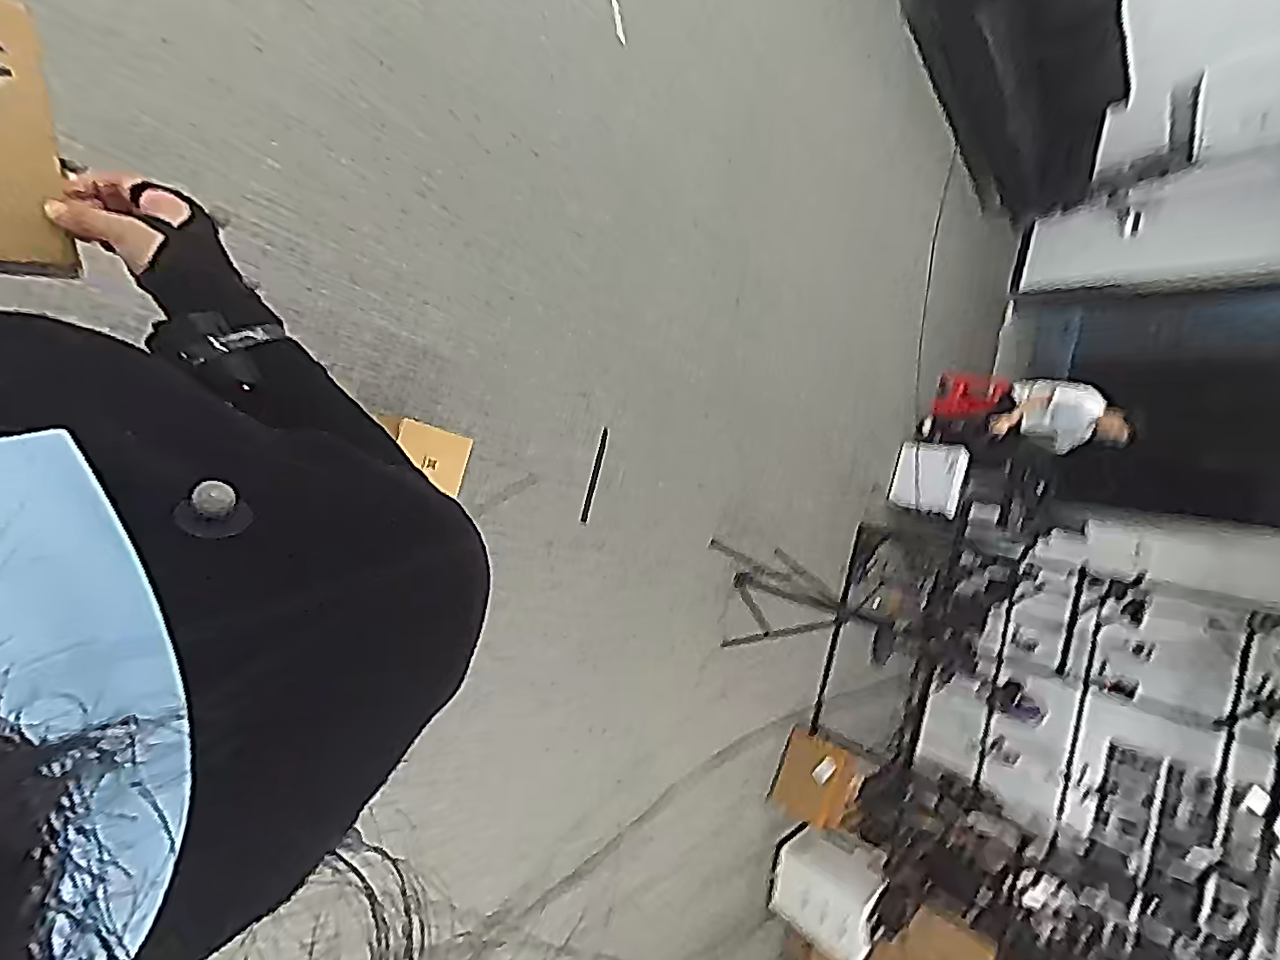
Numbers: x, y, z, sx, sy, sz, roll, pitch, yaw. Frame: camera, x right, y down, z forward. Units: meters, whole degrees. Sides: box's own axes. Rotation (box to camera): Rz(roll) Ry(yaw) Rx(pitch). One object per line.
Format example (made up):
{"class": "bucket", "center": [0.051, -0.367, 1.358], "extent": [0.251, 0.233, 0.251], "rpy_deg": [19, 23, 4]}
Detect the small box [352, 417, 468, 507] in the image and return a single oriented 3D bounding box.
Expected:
{"class": "small box", "center": [-0.543, -0.046, 1.277], "extent": [0.179, 0.176, 0.168], "rpy_deg": [20, 84, -46]}
